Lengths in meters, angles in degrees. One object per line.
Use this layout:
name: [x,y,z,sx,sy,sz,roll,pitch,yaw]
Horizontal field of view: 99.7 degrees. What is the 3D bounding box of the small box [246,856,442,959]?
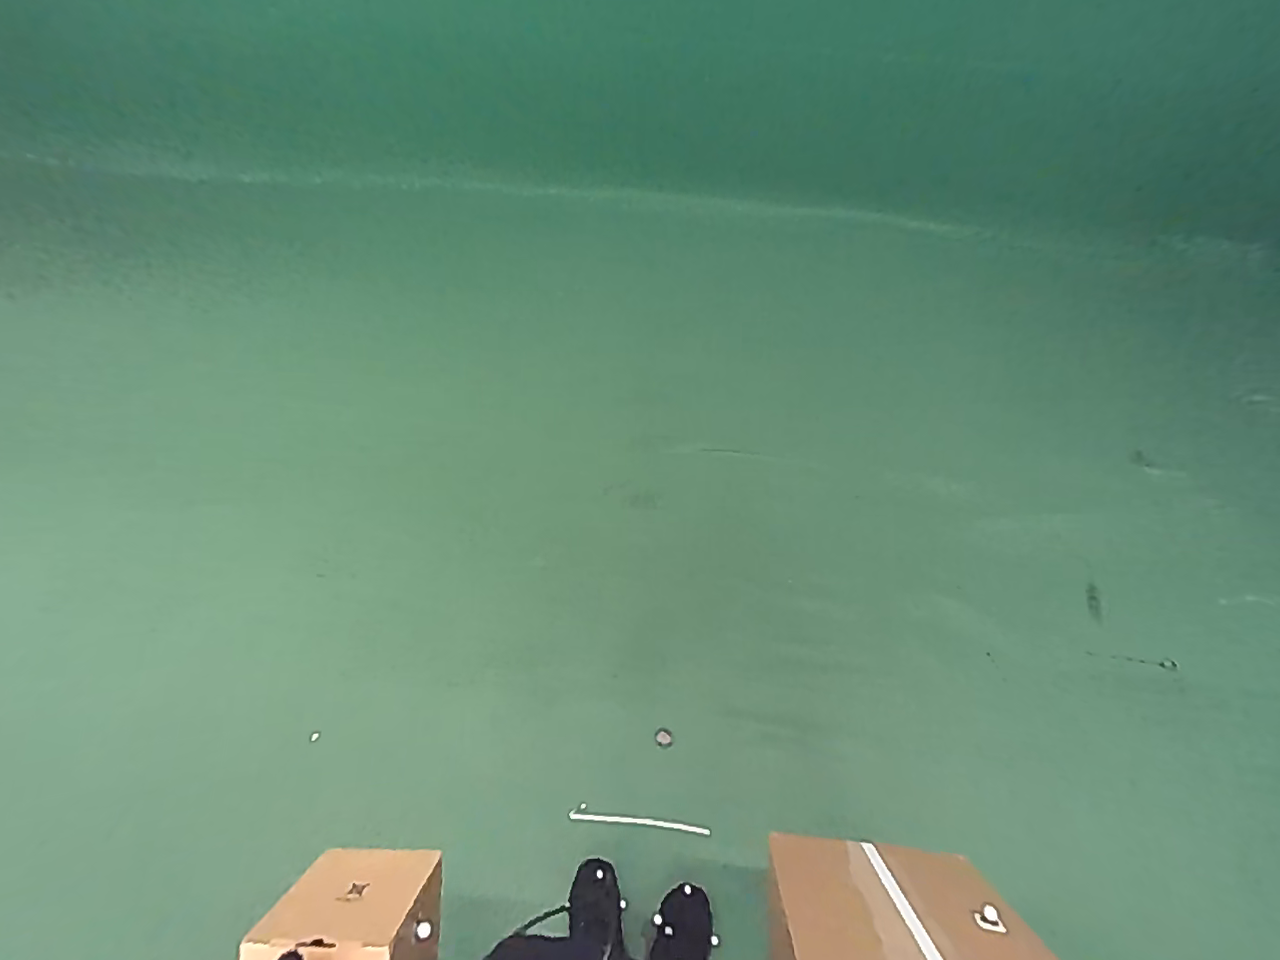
small box: [-0.365,0.612,0.675,0.168,0.179,0.176,2,86,-1]
